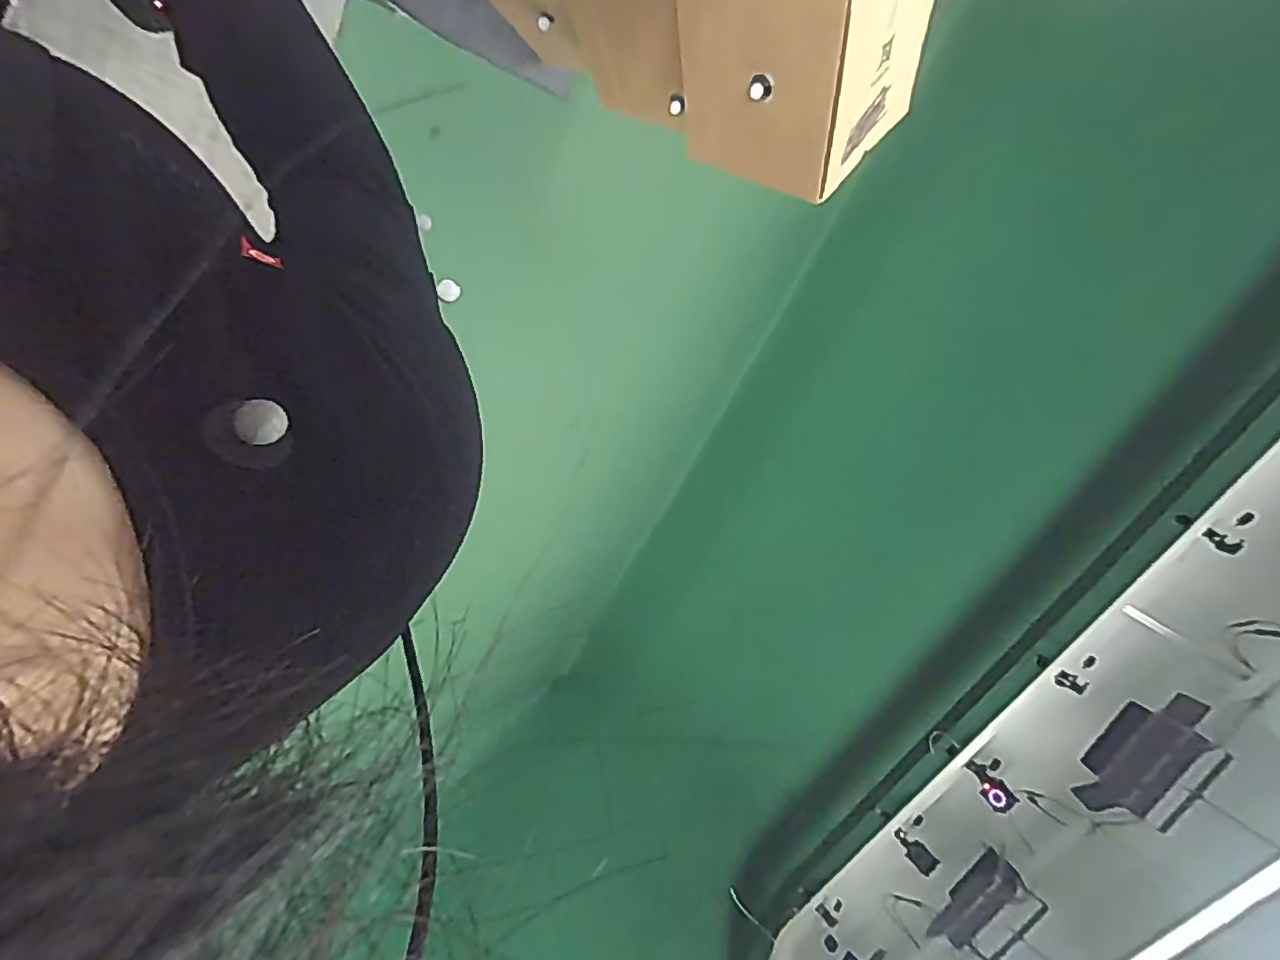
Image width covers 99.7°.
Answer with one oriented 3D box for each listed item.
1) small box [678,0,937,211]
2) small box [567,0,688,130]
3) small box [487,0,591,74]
[{"bbox_3d":[0.153,-0.404,0.515,0.168,0.176,0.179,-49,155,-15],"label":"small box"},{"bbox_3d":[0.041,-0.511,0.576,0.168,0.176,0.179,-53,156,-6],"label":"small box"},{"bbox_3d":[-0.075,-0.611,0.635,0.179,0.176,0.168,3,119,-61],"label":"small box"}]
